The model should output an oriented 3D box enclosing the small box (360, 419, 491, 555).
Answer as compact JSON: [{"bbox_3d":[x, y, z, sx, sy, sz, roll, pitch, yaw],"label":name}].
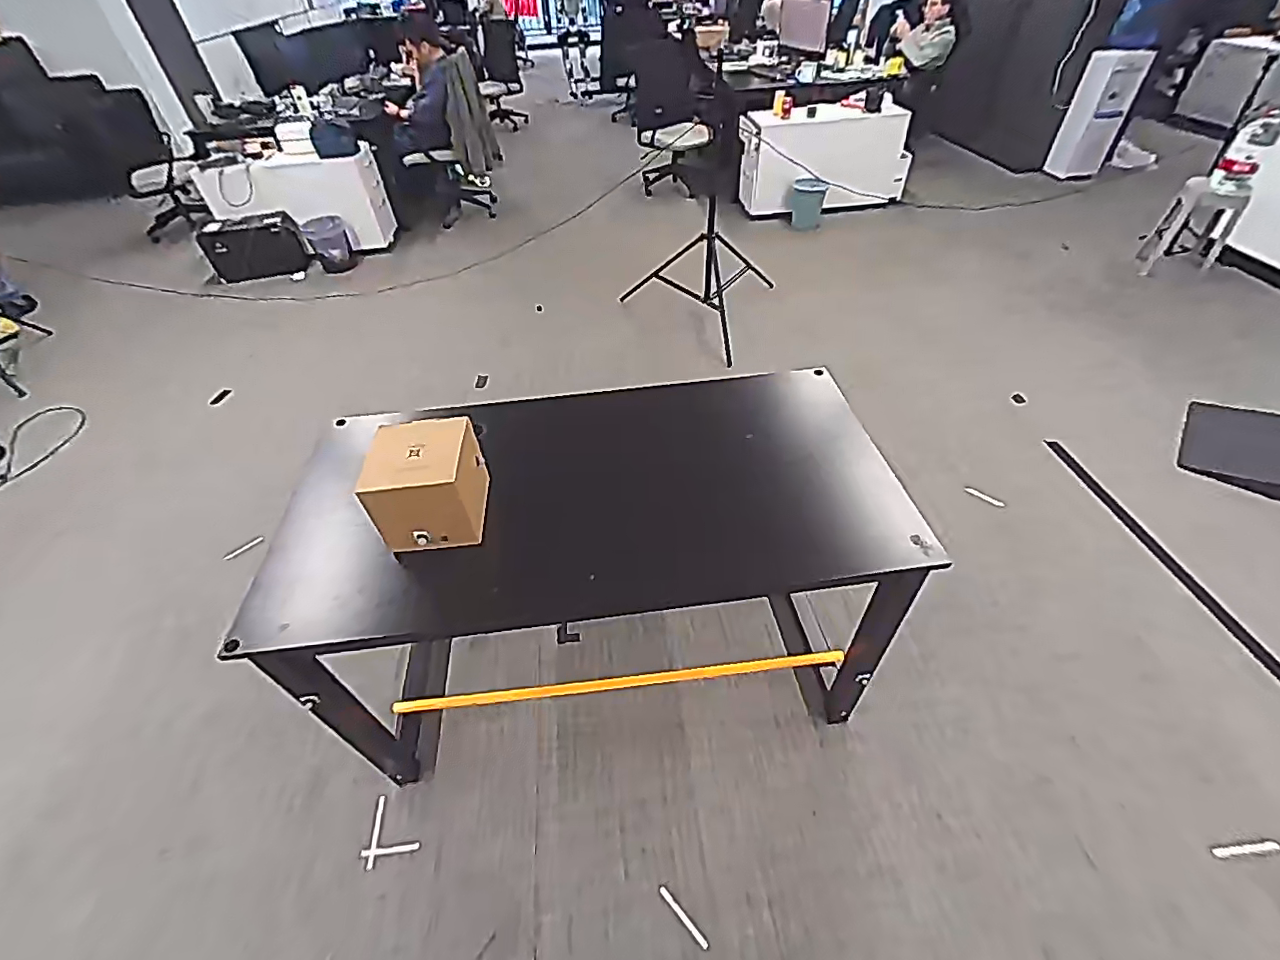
[{"bbox_3d":[-0.379,0.013,0.993,0.168,0.176,0.179,-7,46,-2],"label":"small box"}]
